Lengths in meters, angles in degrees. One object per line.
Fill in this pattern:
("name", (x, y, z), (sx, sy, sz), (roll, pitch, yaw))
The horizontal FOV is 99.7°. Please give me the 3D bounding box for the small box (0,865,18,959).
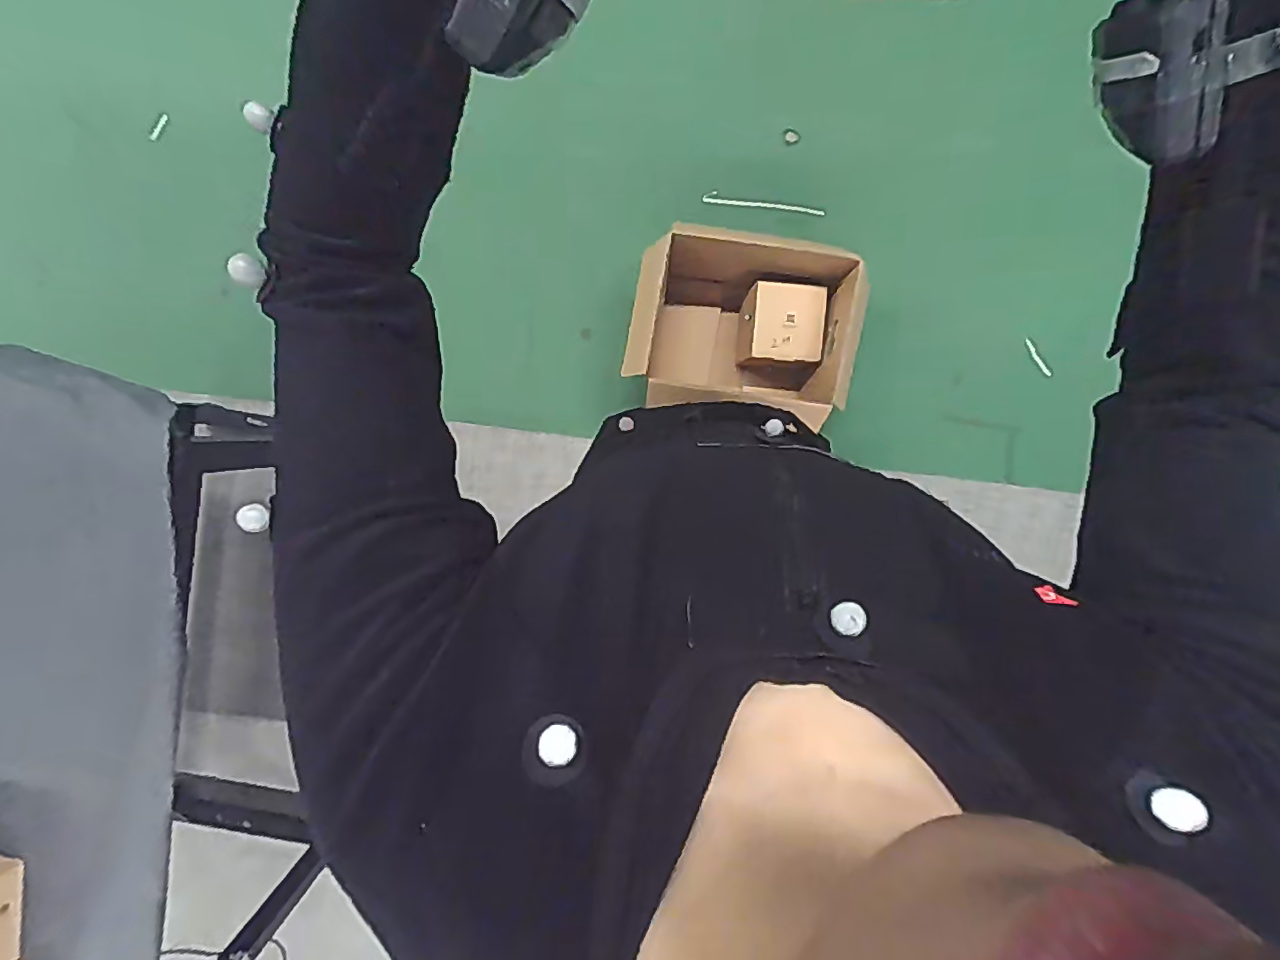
("small box", (-1.027, 0.651, 0.742), (0.179, 0.176, 0.168), (8, 95, 2))
